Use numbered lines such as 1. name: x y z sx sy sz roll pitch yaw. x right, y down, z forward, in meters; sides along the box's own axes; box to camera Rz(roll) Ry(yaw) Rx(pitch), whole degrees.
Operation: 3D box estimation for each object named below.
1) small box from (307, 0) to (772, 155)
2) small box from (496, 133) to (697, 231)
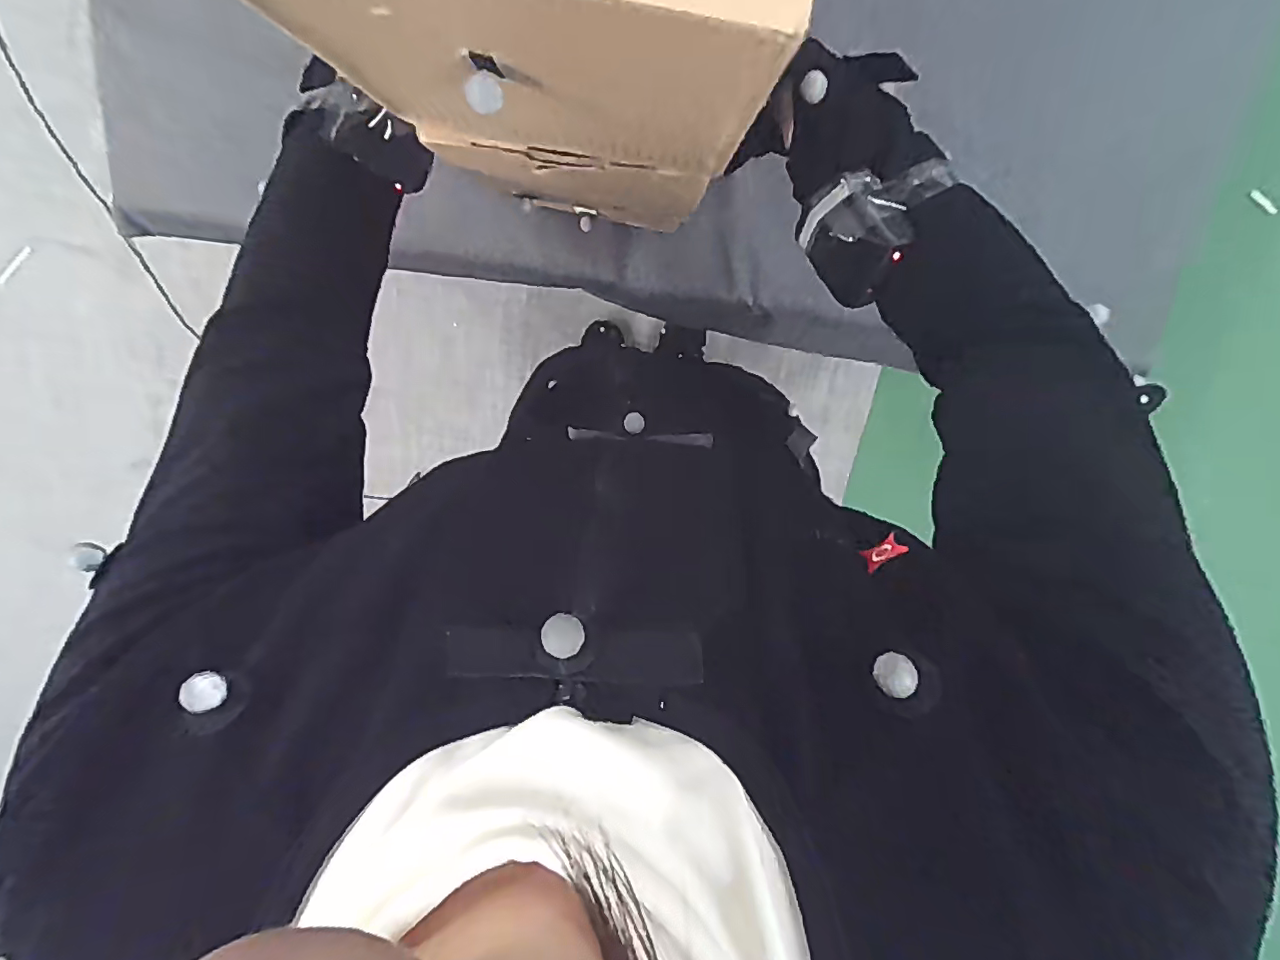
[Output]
1. small box: -0.033 -0.241 0.199 0.179 0.176 0.168 6 106 -2
2. small box: -0.025 -0.349 0.506 0.168 0.176 0.179 10 109 -2
